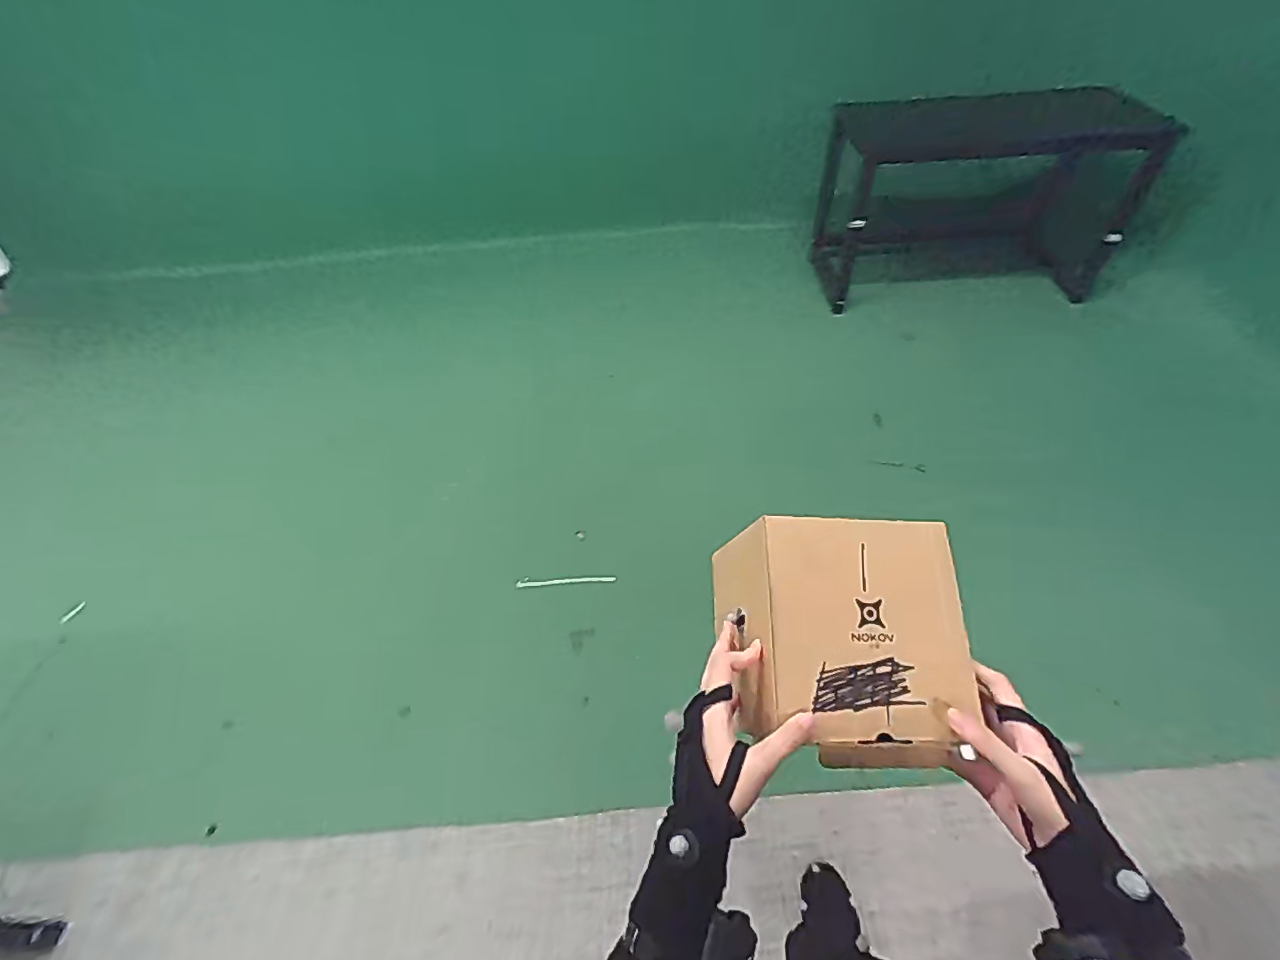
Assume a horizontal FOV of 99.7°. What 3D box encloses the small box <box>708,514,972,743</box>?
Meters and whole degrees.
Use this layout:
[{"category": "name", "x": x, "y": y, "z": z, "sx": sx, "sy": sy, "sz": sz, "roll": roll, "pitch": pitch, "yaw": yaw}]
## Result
[{"category": "small box", "x": 0.164, "y": 0.141, "z": 0.507, "sx": 0.168, "sy": 0.176, "sz": 0.179, "roll": 3, "pitch": 69, "yaw": -7}]
